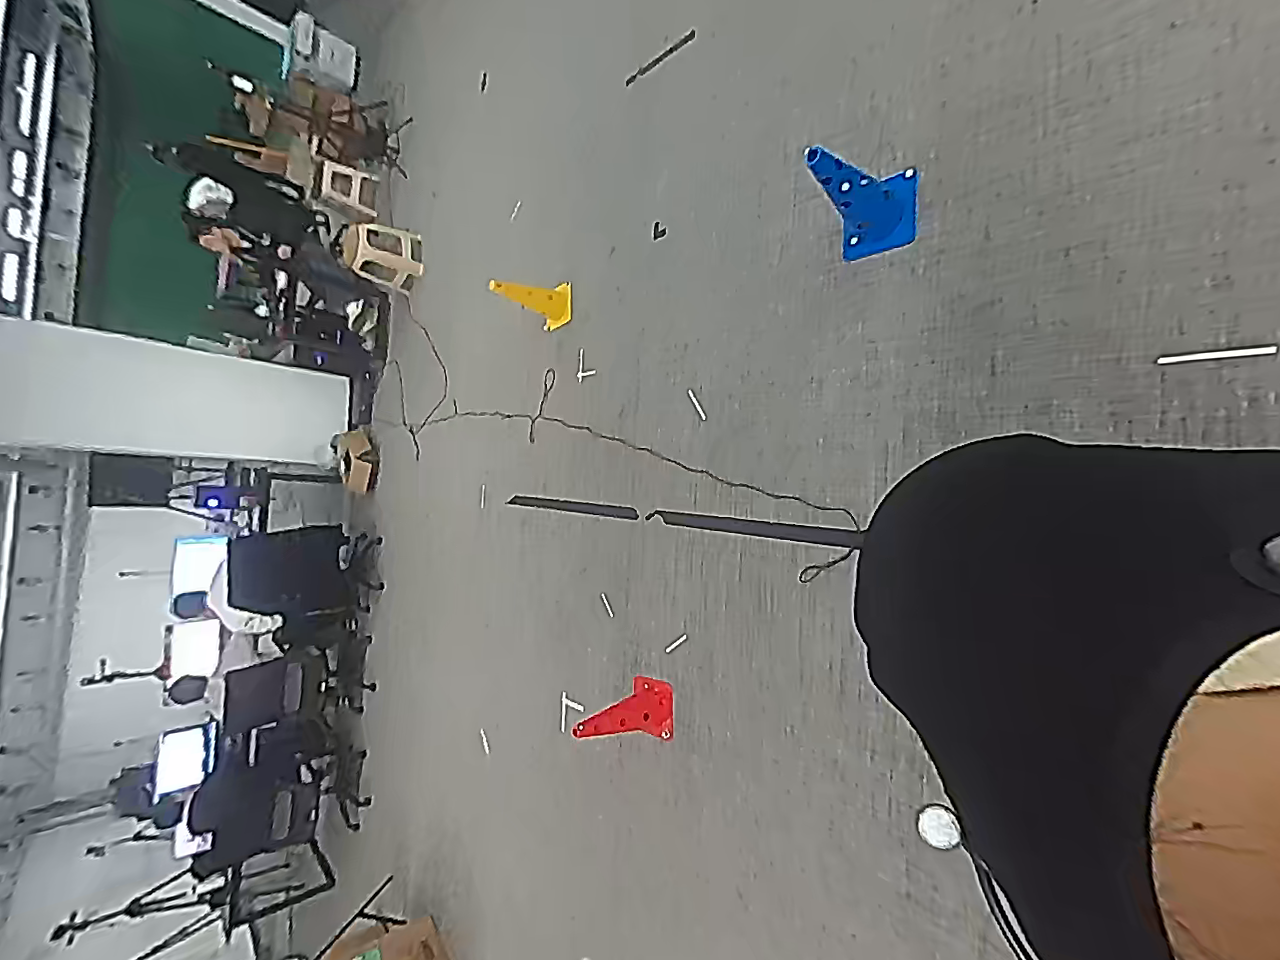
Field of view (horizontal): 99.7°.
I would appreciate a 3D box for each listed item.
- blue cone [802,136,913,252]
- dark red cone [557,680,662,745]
[{"bbox_3d":[0.518,-0.737,1.349,0.193,0.380,0.192,3,88,47],"label":"blue cone"},{"bbox_3d":[-0.108,0.828,1.856,0.202,0.394,0.201,-9,79,47],"label":"dark red cone"}]
